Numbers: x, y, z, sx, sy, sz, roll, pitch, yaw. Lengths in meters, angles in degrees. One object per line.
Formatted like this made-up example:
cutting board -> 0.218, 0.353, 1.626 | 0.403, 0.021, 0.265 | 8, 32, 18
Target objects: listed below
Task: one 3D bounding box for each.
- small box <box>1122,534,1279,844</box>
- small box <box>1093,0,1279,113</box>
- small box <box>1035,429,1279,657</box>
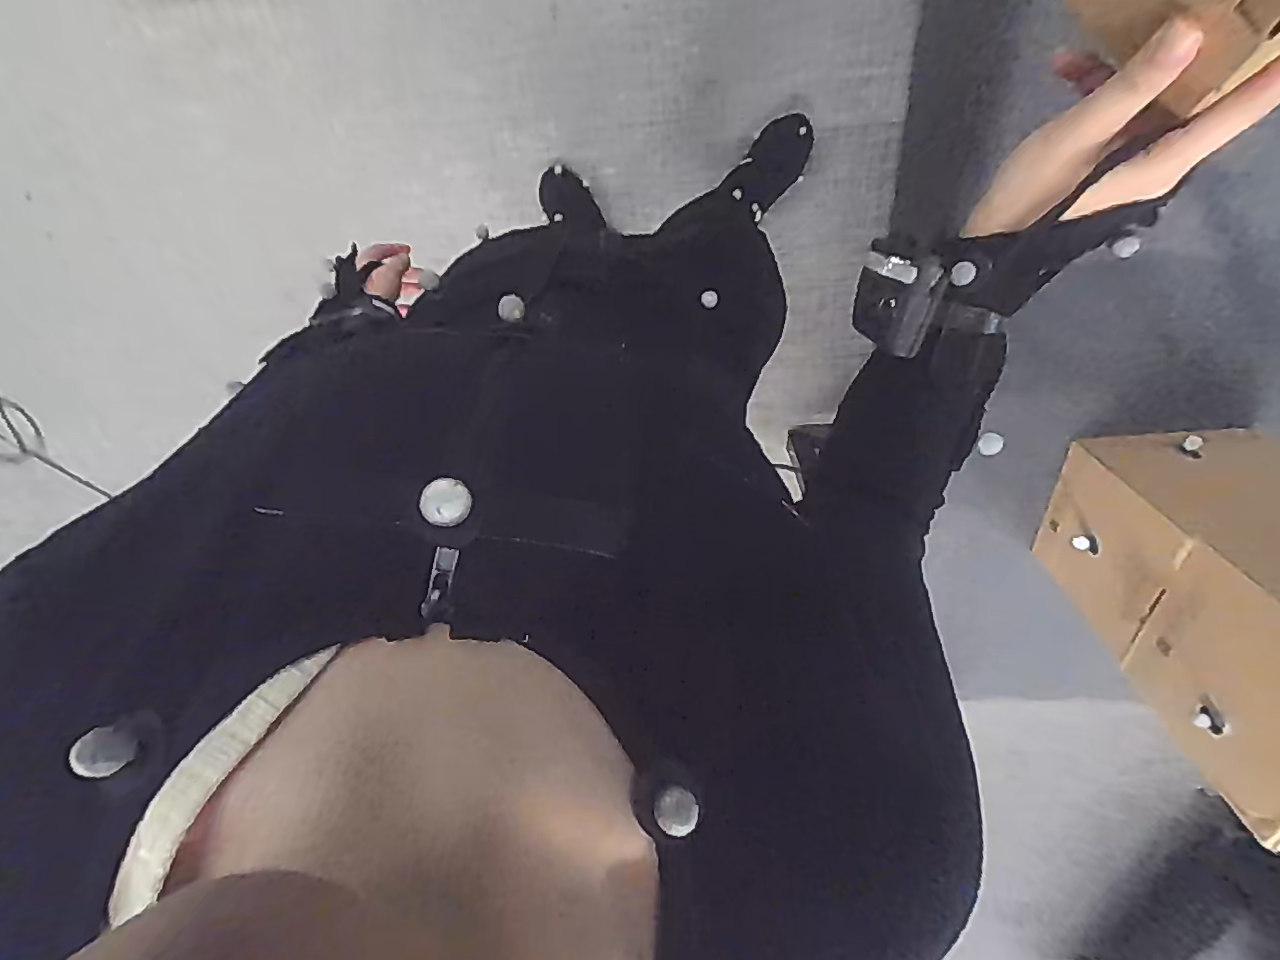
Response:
small box -> 0.541, 0.154, 0.417 | 0.179, 0.176, 0.168 | -1, 124, 4
small box -> 0.230, -0.274, 0.154 | 0.179, 0.168, 0.176 | -34, 81, 21
small box -> 0.551, 0.060, 0.550 | 0.179, 0.176, 0.168 | -3, 123, 7
